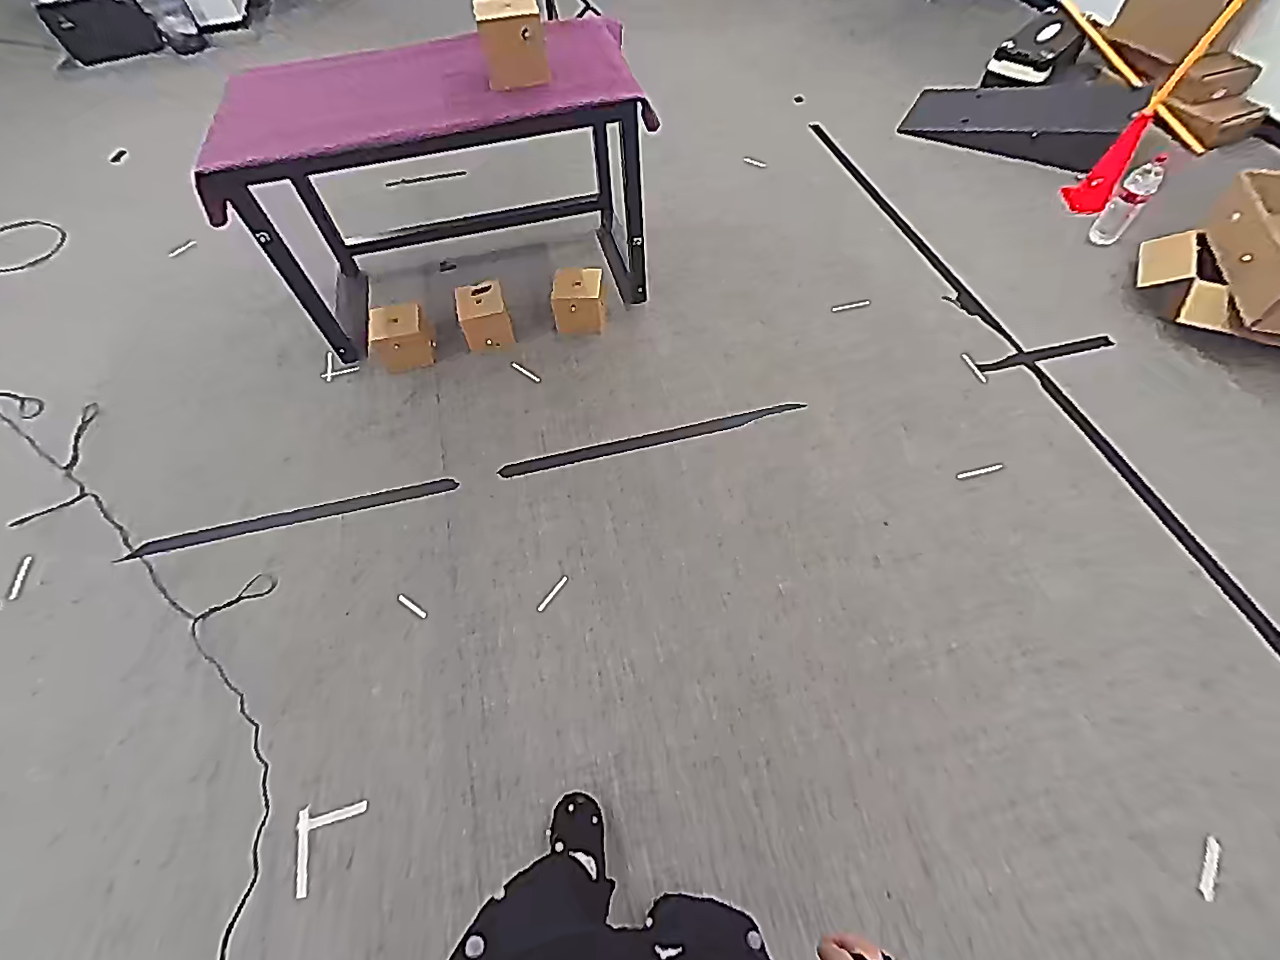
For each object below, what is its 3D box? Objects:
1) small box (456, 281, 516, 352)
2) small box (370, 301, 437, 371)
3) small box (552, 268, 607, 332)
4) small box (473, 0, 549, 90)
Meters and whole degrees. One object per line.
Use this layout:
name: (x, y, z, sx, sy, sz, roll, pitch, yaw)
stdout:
small box: (-0.572, -0.608, 2.016, 0.168, 0.176, 0.179, -14, 60, -6)
small box: (-0.864, -0.523, 1.981, 0.179, 0.176, 0.168, -12, 60, -5)
small box: (-0.223, -0.677, 2.042, 0.179, 0.176, 0.168, 0, 59, 5)
small box: (-0.363, -1.255, 1.546, 0.179, 0.176, 0.168, -12, 58, -4)
